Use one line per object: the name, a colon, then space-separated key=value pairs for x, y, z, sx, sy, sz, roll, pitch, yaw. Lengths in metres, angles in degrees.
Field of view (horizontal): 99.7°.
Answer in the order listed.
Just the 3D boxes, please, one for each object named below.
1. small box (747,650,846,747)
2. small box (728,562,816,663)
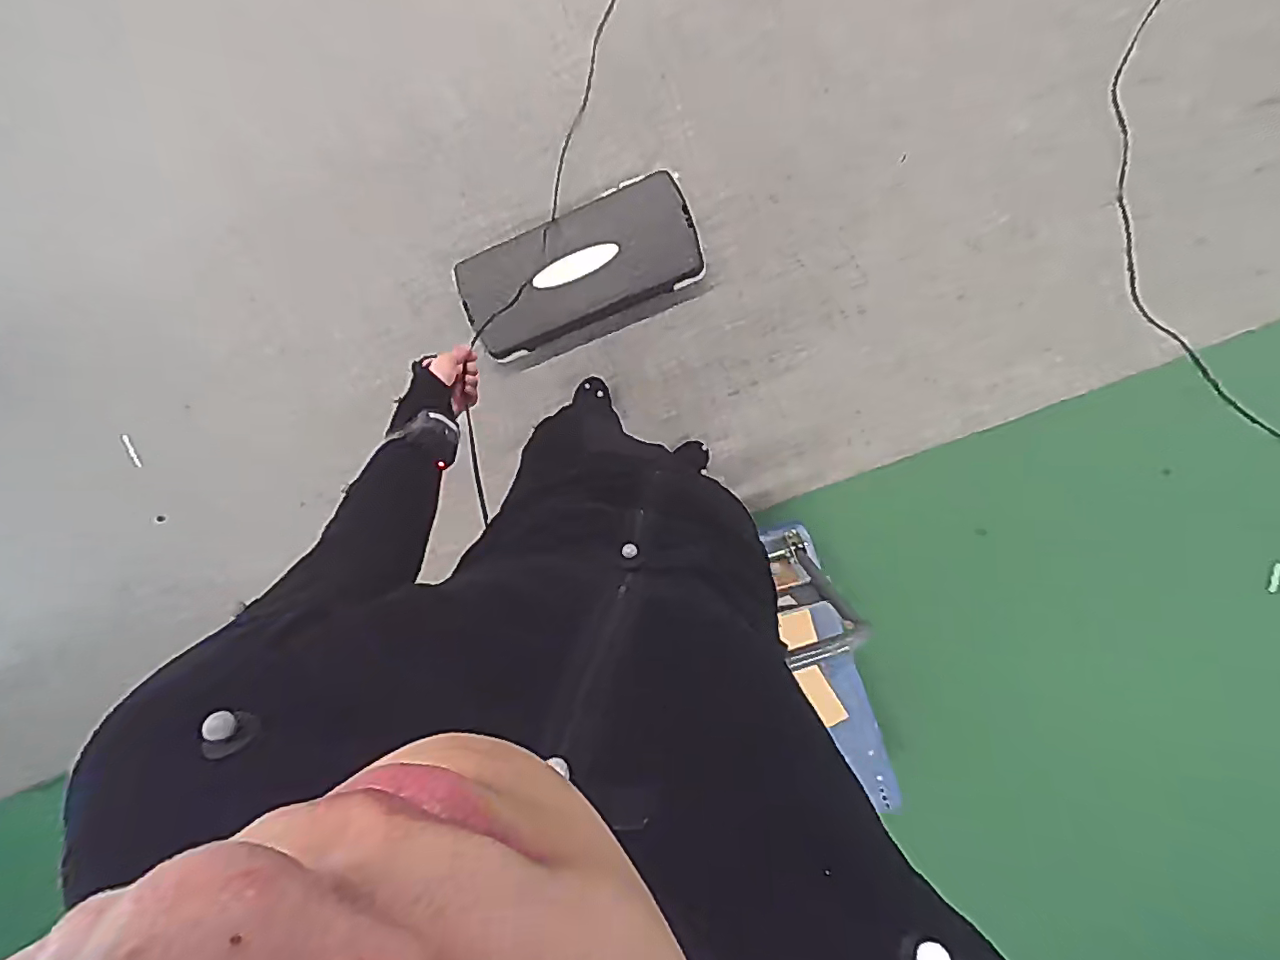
small box: x=0.390 y=0.530 z=1.382 sx=0.168 sy=0.176 sz=0.179 roll=-32 pitch=95 yaw=8
small box: x=0.325 y=0.327 z=1.359 sx=0.168 sy=0.176 sz=0.179 roll=-16 pitch=96 yaw=7
